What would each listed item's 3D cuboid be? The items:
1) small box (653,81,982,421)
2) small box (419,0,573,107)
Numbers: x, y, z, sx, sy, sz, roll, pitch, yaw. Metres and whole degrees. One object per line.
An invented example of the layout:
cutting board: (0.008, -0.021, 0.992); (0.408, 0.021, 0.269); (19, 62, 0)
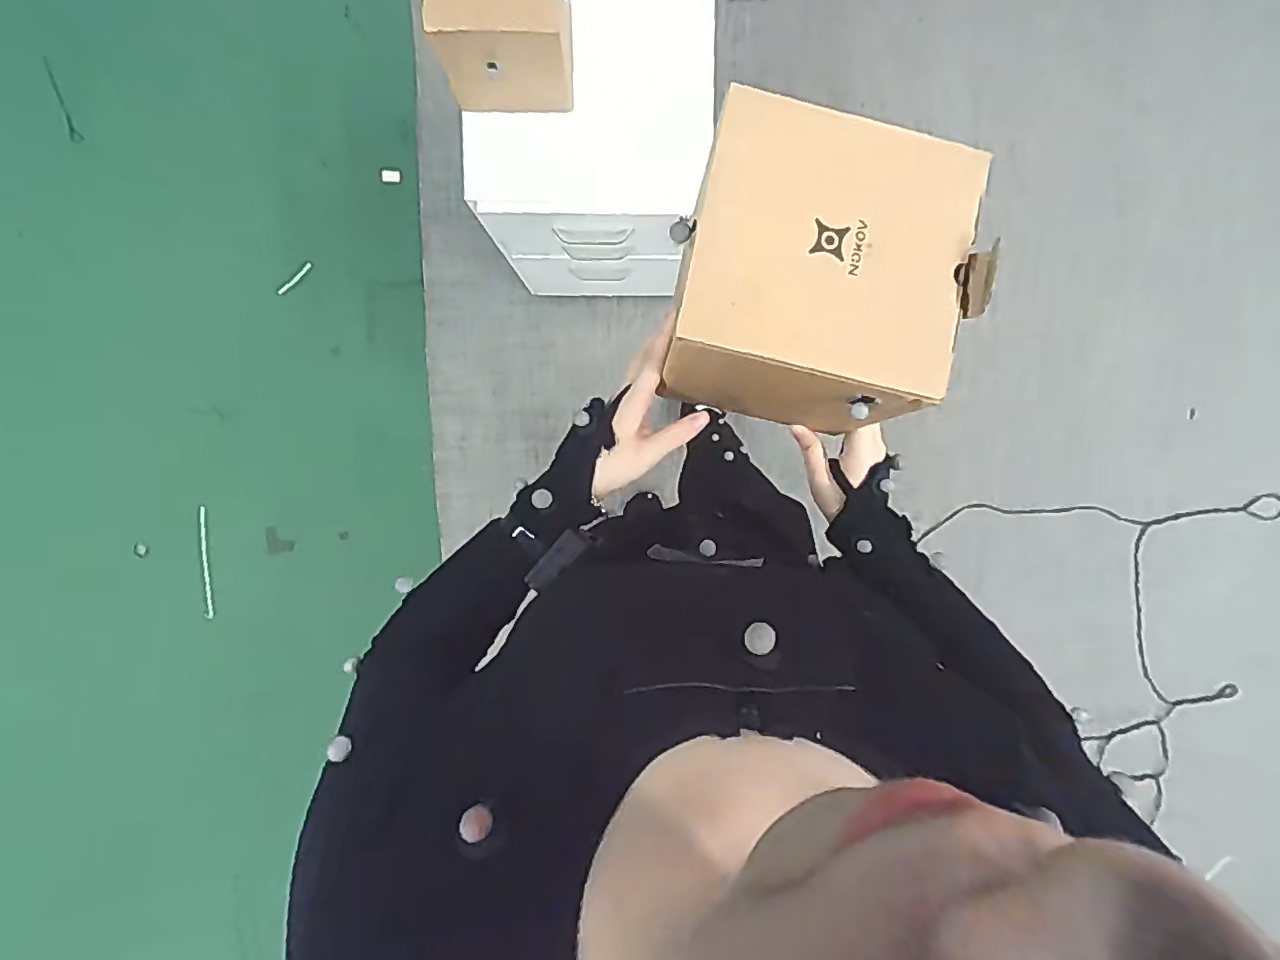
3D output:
small box: (0.112, -0.148, 0.415); (0.179, 0.176, 0.168); (12, 87, -3)
small box: (-0.191, -0.651, 0.751); (0.179, 0.176, 0.168); (-1, 95, -1)
